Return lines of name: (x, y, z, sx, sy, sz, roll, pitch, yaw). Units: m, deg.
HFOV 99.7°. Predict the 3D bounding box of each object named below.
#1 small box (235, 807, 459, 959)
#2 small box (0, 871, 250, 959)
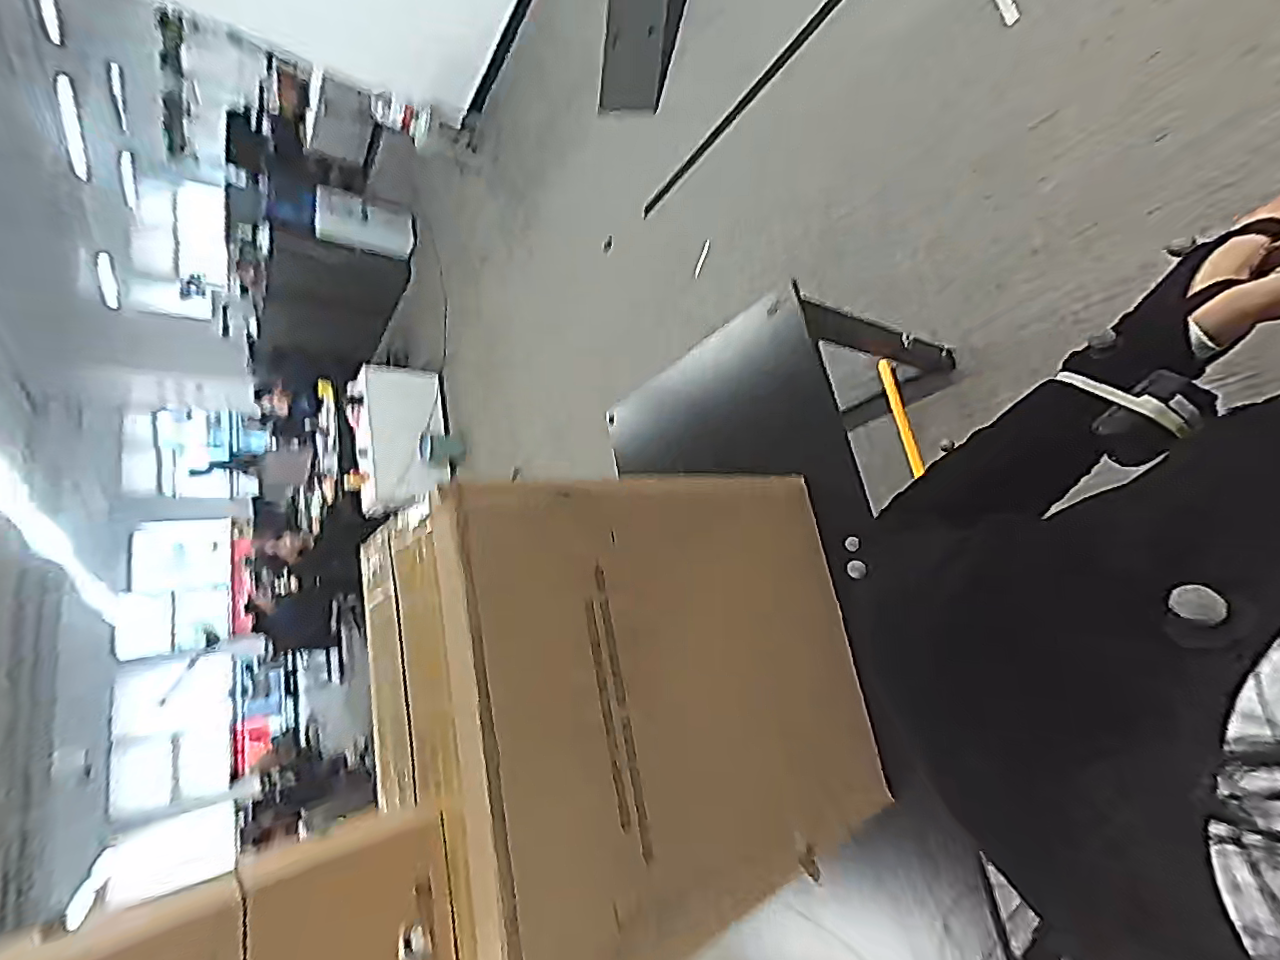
small box: (-0.296, 0.449, 0.542, 0.179, 0.176, 0.168, -34, 65, 44)
small box: (-0.422, 0.451, 0.435, 0.179, 0.176, 0.168, -32, 66, 46)
